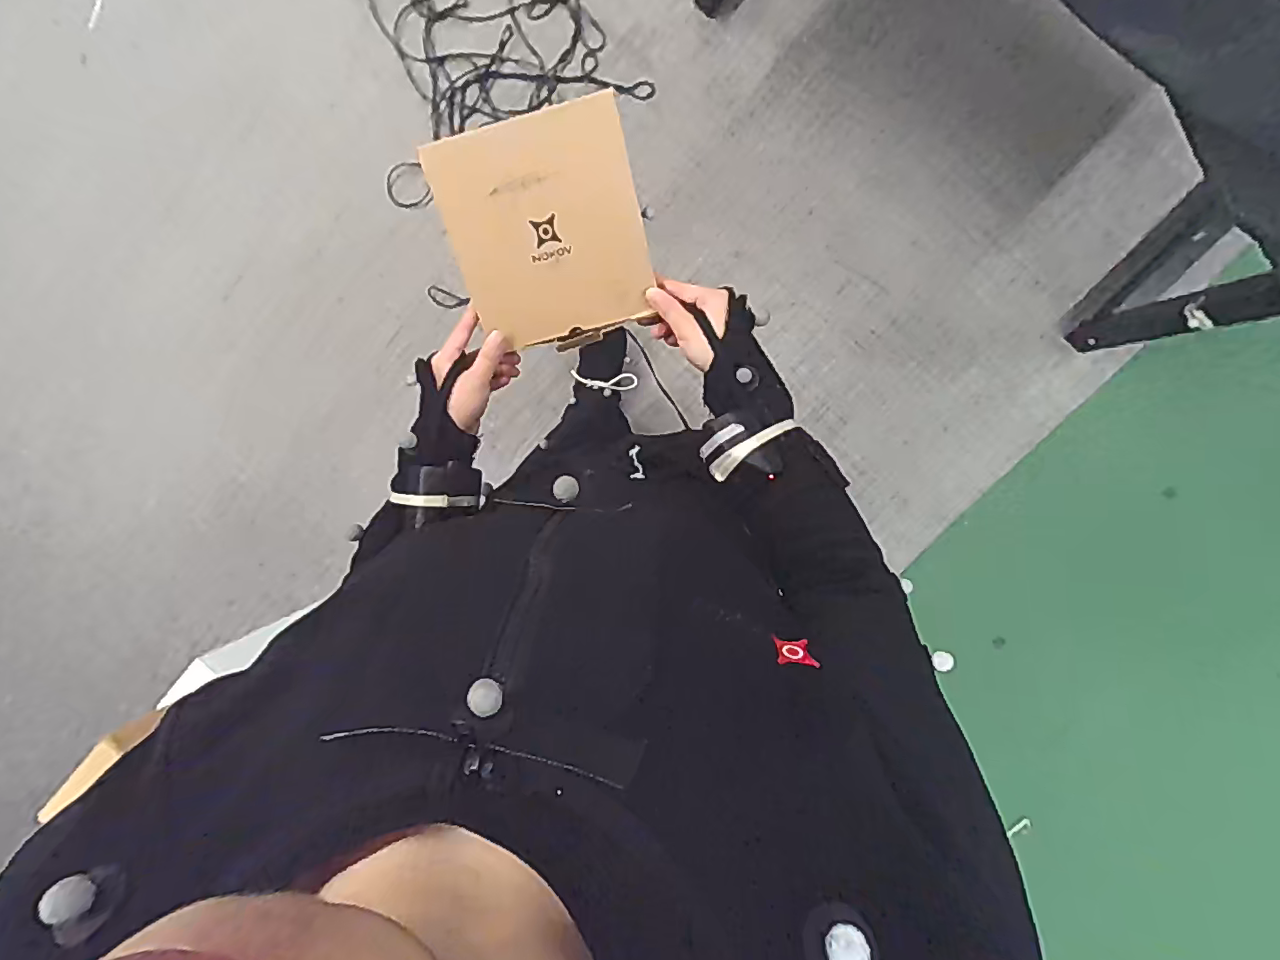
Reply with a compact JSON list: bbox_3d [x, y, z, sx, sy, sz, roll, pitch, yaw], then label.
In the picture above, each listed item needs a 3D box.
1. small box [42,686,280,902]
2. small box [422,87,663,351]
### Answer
[{"bbox_3d":[-0.686,0.446,0.795,0.168,0.176,0.179,44,100,1],"label":"small box"},{"bbox_3d":[-0.075,-0.247,0.528,0.168,0.176,0.179,-13,116,5],"label":"small box"}]
